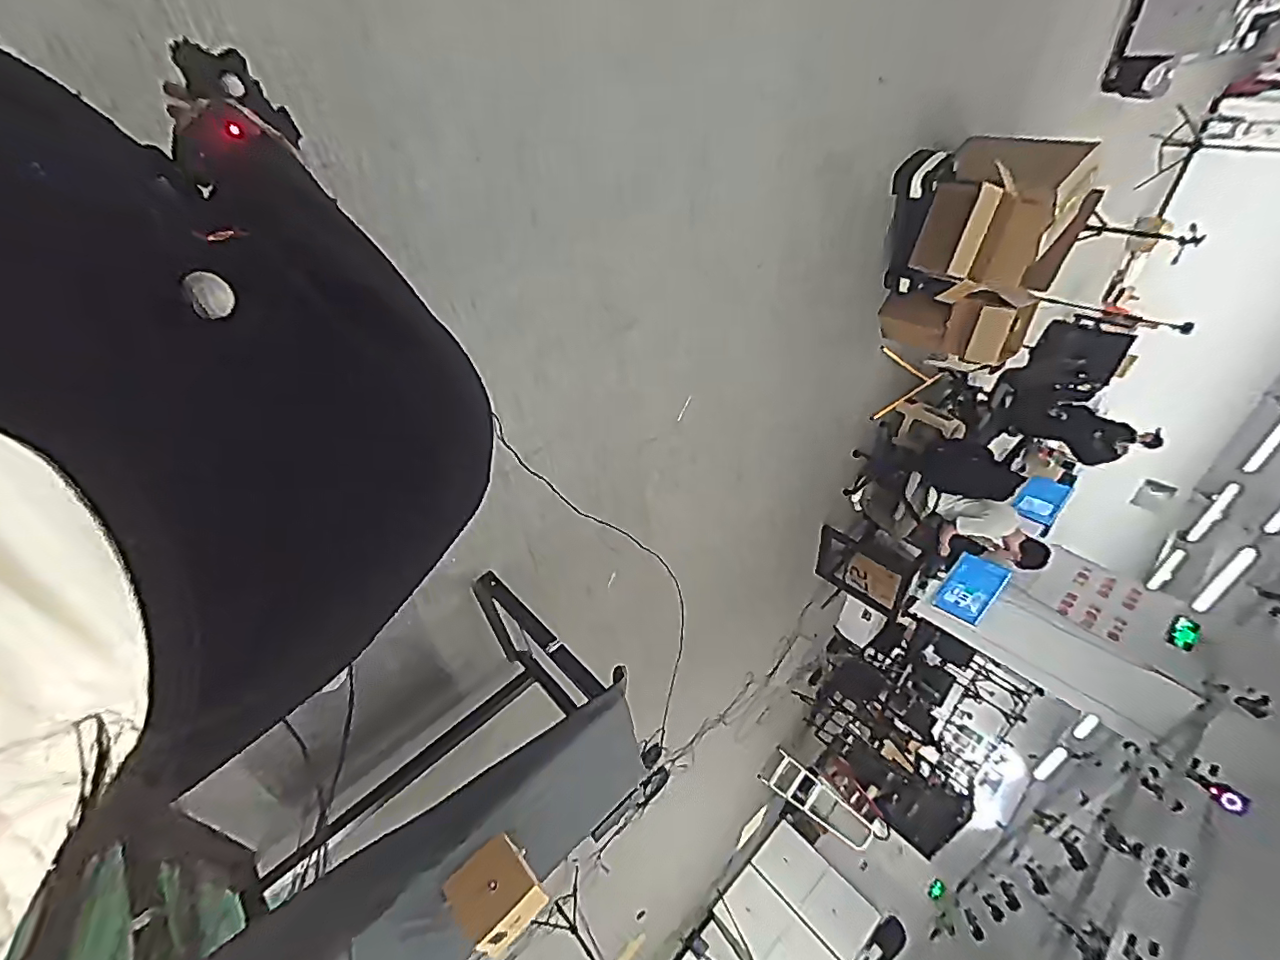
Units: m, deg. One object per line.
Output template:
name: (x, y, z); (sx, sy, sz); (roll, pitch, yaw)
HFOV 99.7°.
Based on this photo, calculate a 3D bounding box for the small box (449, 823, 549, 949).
small box: (-0.366, 1.038, 1.389); (0.179, 0.176, 0.168); (-36, 139, -28)
